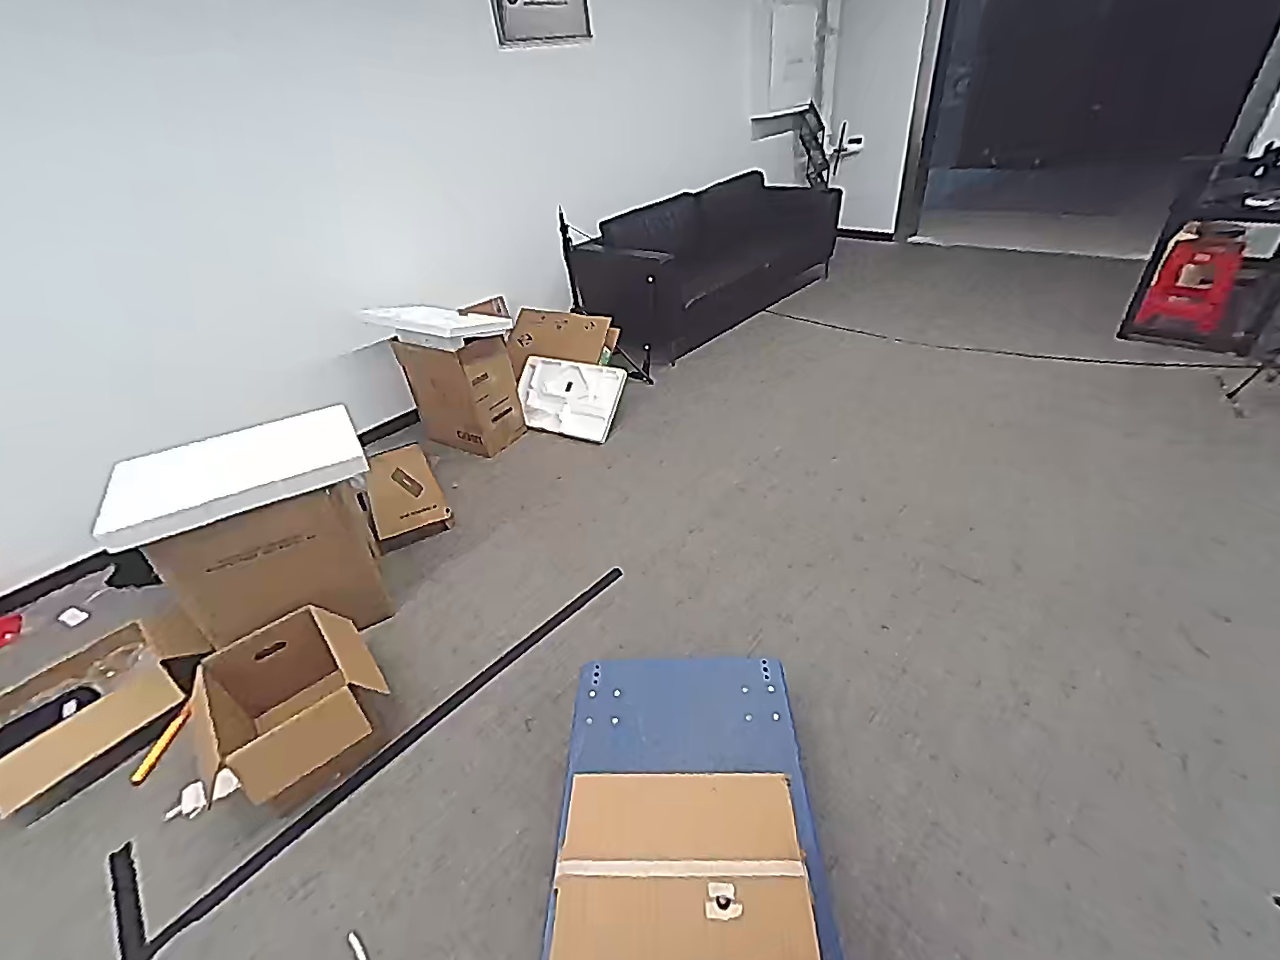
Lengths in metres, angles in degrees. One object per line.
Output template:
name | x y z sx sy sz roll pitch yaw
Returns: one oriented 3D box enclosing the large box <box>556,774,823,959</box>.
large box | 0.083 0.769 0.982 0.408 0.320 0.320 -3 36 4
